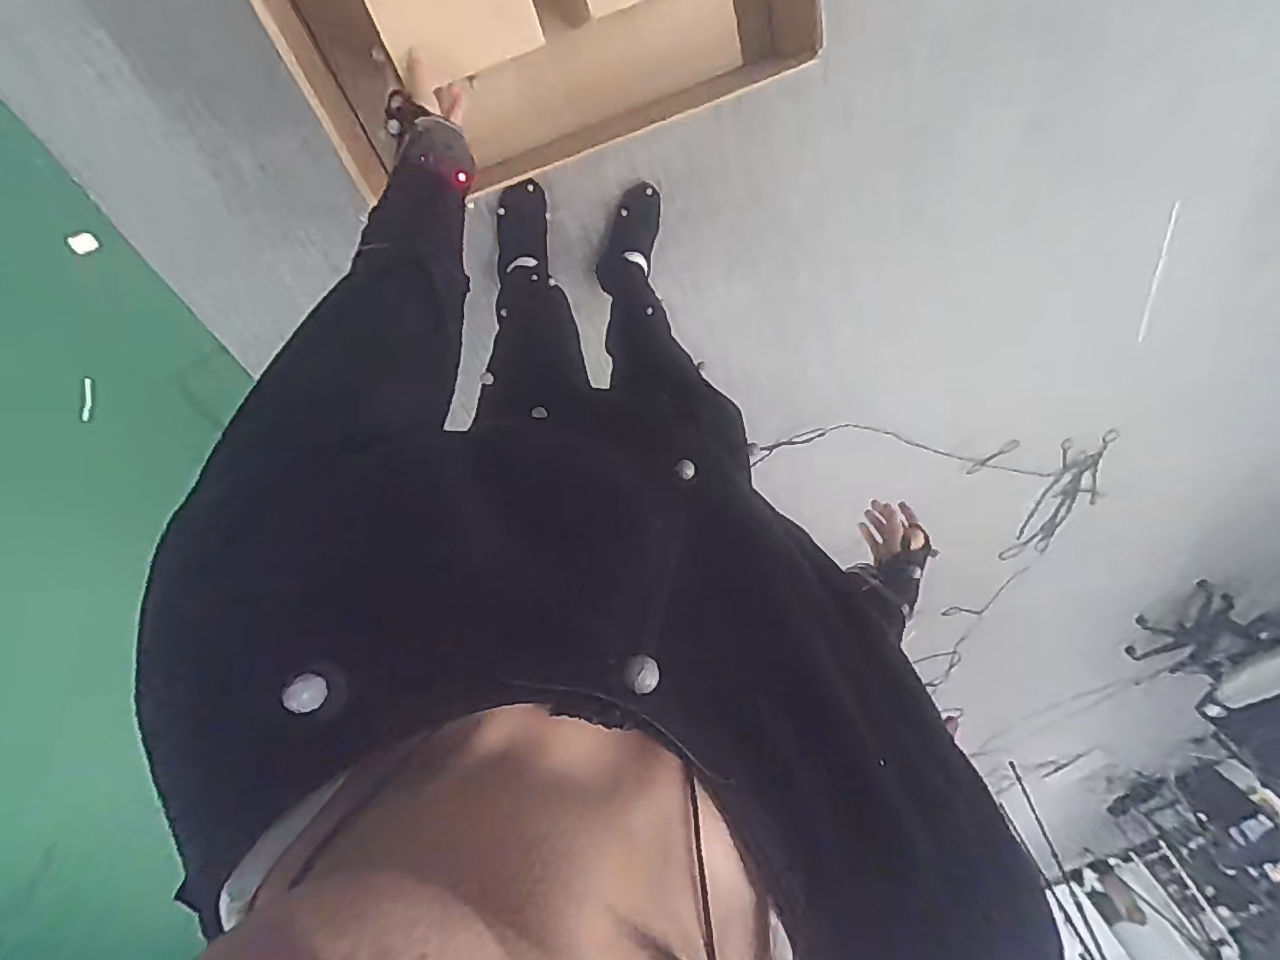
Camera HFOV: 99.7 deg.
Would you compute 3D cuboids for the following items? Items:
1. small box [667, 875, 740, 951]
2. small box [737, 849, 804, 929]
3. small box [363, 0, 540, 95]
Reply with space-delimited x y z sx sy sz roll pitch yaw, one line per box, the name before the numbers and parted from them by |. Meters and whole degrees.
small box | 0.220 1.538 1.920 0.179 0.176 0.168 -38 127 14
small box | 0.463 1.451 1.923 0.179 0.176 0.168 -18 128 -1
small box | -0.227 -0.564 0.607 0.168 0.176 0.179 -23 129 -3
